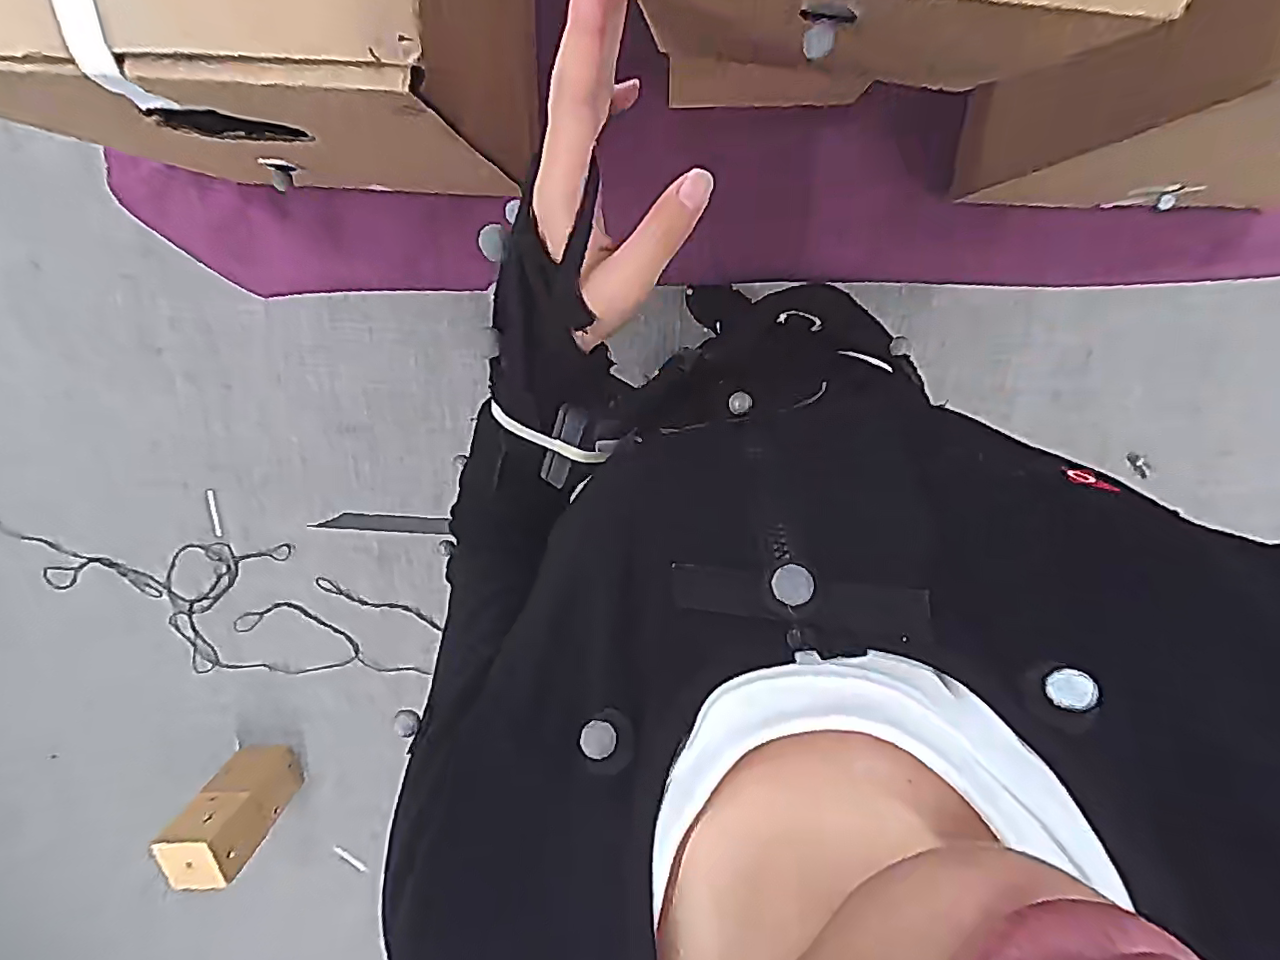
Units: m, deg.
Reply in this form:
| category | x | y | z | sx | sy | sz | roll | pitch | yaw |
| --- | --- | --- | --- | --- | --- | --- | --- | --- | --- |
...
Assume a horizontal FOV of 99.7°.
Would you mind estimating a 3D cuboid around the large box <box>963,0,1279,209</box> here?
| category | x | y | z | sx | sy | sz | roll | pitch | yaw |
| --- | --- | --- | --- | --- | --- | --- | --- | --- | --- |
| large box | 0.452 | -0.406 | 0.319 | 0.320 | 0.320 | 0.408 | 2 | 107 | 1 |

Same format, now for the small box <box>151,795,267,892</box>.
| category | x | y | z | sx | sy | sz | roll | pitch | yaw |
| --- | --- | --- | --- | --- | --- | --- | --- | --- | --- |
| small box | -1.224 | 1.034 | 1.550 | 0.168 | 0.176 | 0.179 | -5 | 109 | 4 |

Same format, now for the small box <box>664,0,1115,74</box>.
| category | x | y | z | sx | sy | sz | roll | pitch | yaw |
| --- | --- | --- | --- | --- | --- | --- | --- | --- | --- |
| small box | 0.098 | -0.262 | 0.189 | 0.179 | 0.176 | 0.168 | 9 | 120 | 2 |
